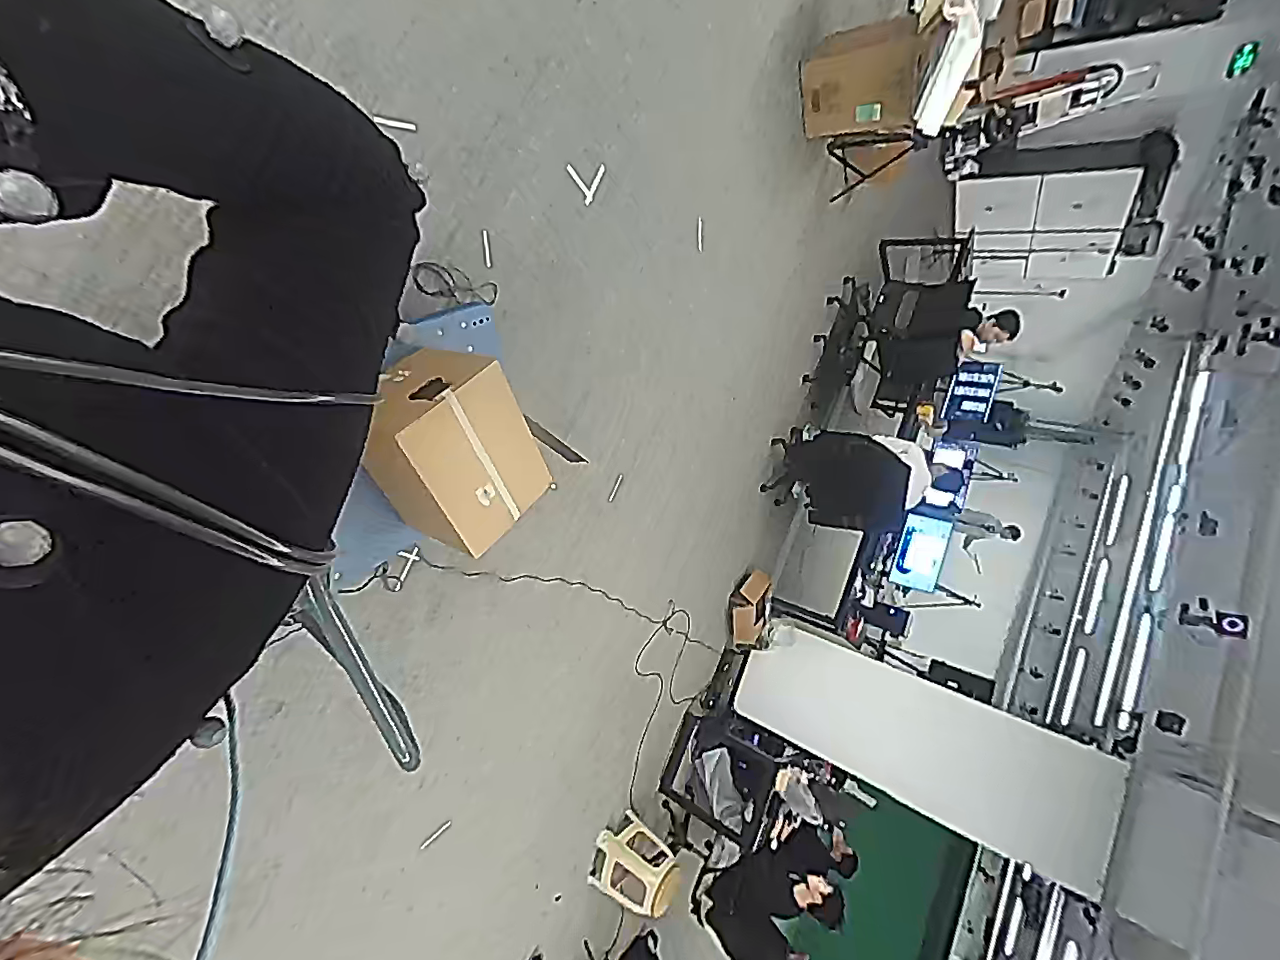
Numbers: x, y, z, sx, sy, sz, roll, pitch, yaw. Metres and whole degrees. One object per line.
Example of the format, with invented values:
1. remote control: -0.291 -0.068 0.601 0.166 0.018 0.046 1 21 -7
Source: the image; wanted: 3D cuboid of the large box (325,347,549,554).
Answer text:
1. large box: -0.504 -0.083 1.399 0.320 0.320 0.408 -49 139 -32
